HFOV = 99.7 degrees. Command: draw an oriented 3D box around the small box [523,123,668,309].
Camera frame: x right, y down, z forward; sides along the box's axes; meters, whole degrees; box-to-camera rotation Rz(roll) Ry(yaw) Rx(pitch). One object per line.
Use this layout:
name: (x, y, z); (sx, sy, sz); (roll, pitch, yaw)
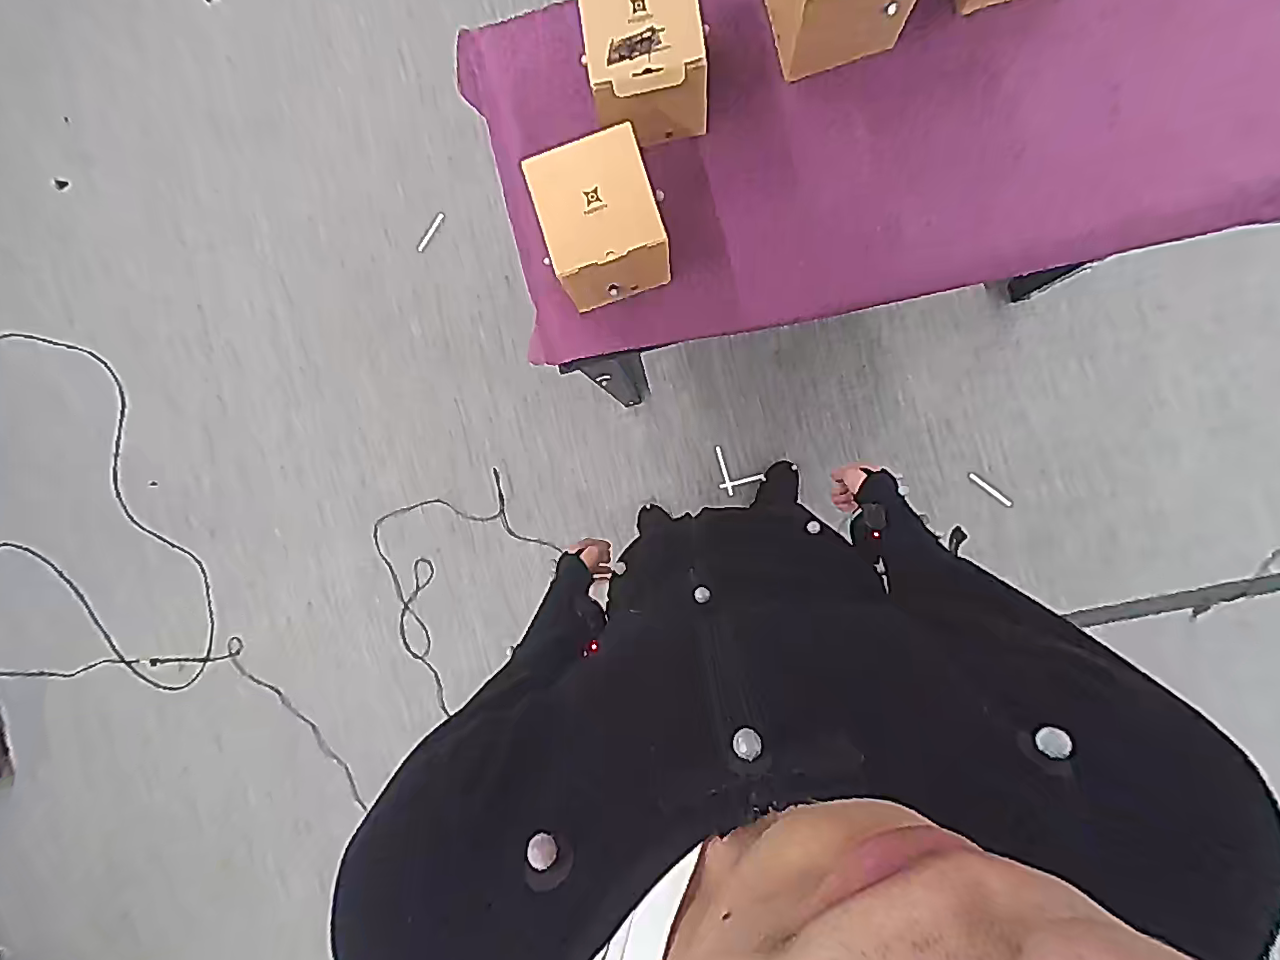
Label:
small box: (-0.060, -0.392, 0.833); (0.168, 0.176, 0.179); (-18, 90, 4)

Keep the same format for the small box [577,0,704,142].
small box: (0.006, -0.645, 0.821); (0.168, 0.176, 0.179); (-8, 91, 6)
